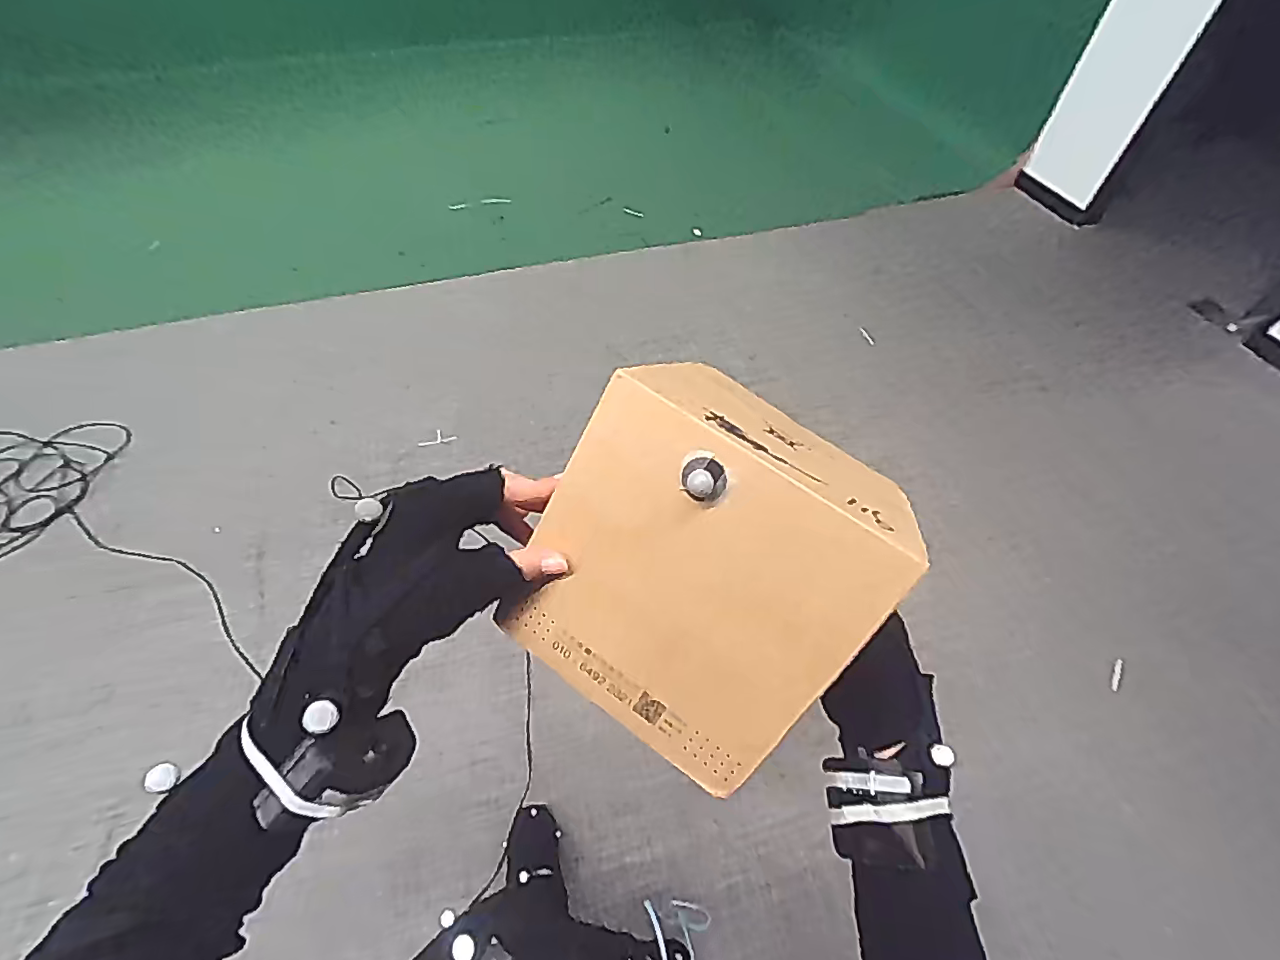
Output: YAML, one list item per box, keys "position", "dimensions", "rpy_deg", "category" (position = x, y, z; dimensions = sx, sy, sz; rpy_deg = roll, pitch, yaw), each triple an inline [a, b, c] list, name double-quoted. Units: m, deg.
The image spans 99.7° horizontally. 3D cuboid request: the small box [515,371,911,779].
- position: [0.046, 0.044, 0.360]
  dimensions: [0.168, 0.176, 0.179]
  rpy_deg: [34, 20, 12]
  category: "small box"
